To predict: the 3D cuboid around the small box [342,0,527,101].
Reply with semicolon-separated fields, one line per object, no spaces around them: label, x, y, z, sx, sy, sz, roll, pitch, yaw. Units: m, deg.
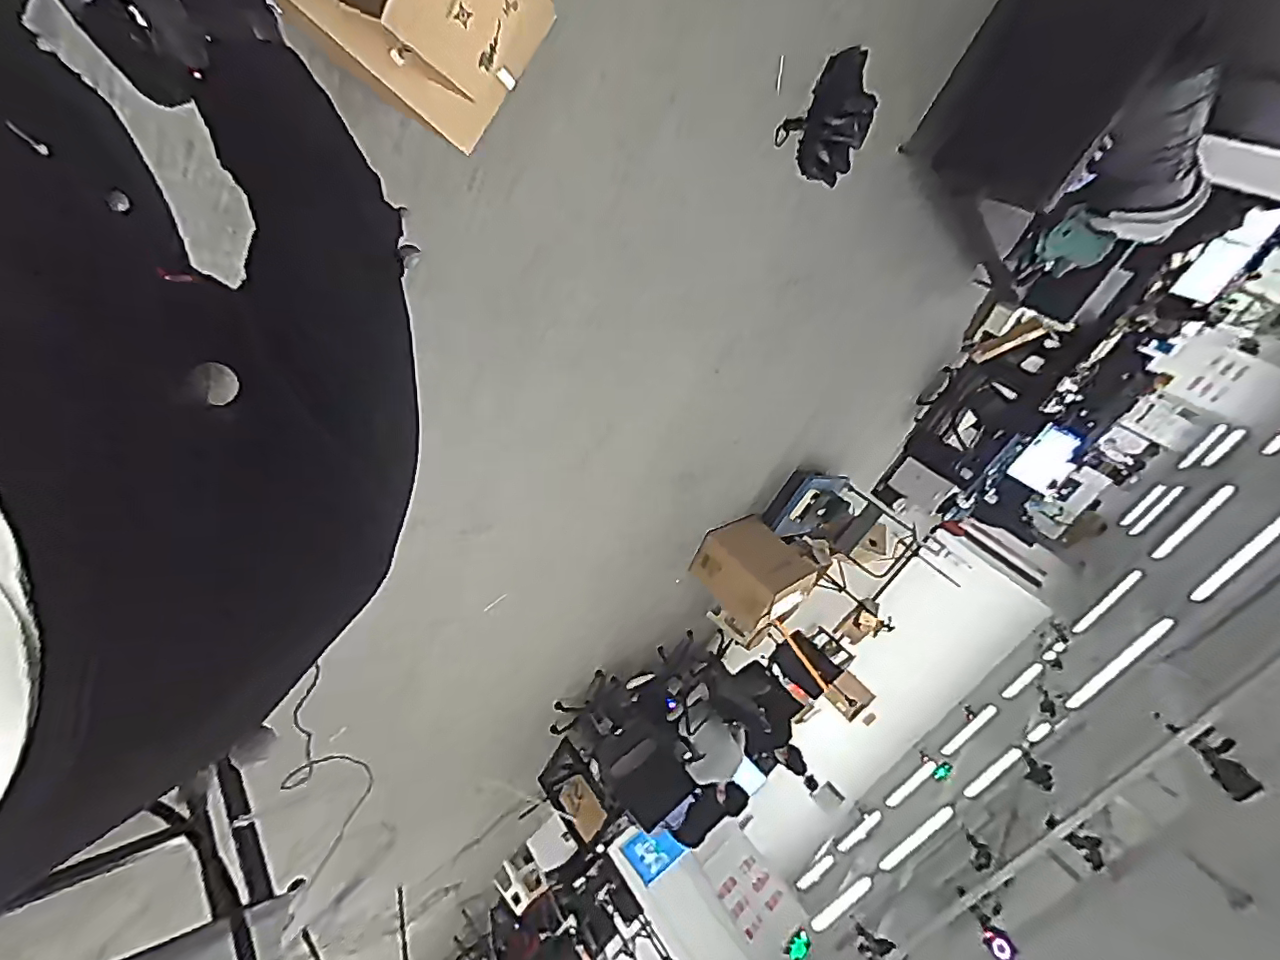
small box;-0.311;-0.719;0.808;0.179;0.176;0.168;11;118;-54
